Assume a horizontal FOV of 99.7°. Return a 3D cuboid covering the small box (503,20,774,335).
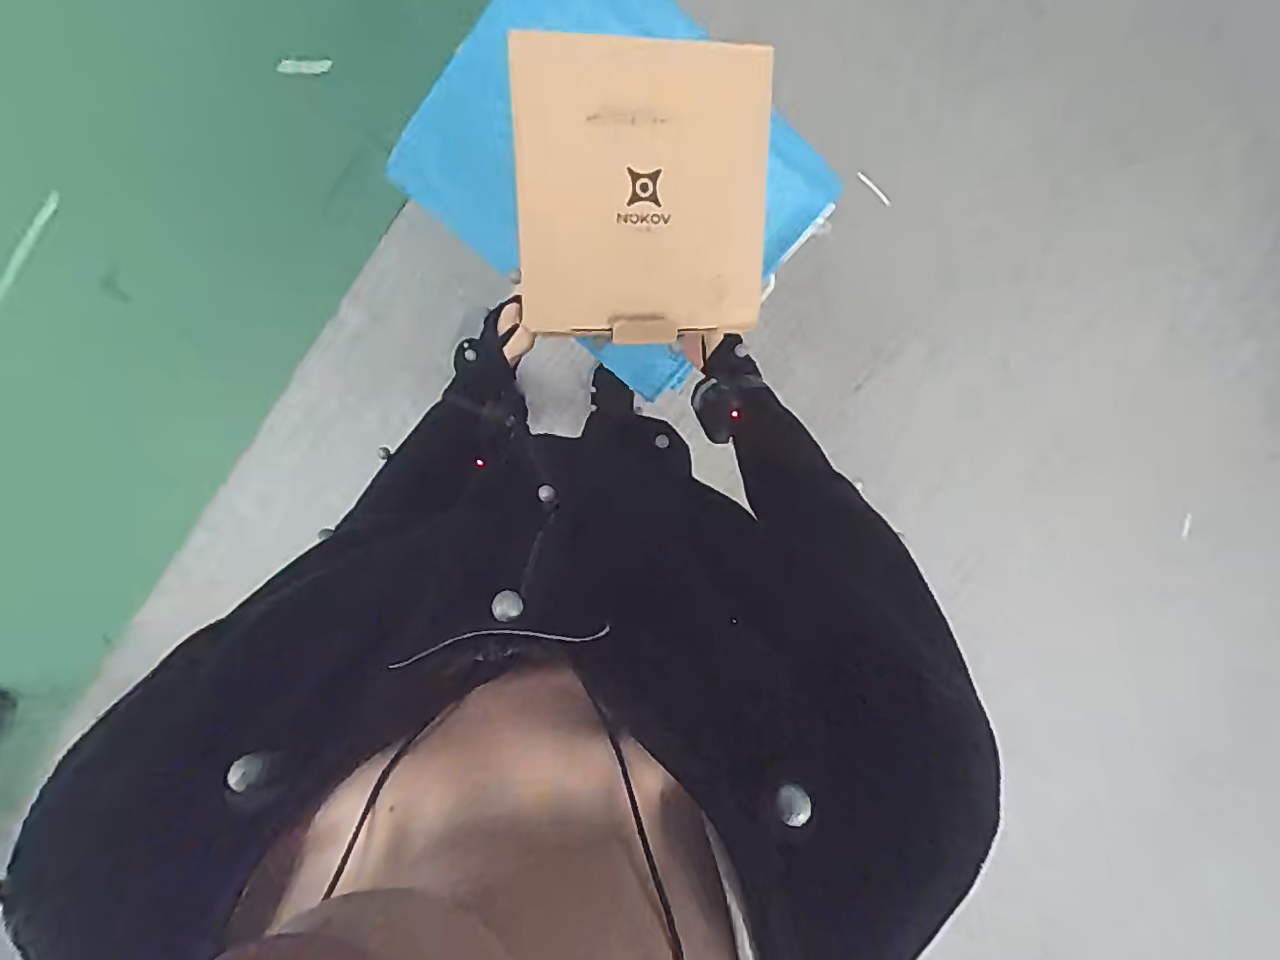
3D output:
[{"bbox_3d":[-0.008,-0.205,0.419,0.168,0.176,0.179,-3,105,-7],"label":"small box"}]
